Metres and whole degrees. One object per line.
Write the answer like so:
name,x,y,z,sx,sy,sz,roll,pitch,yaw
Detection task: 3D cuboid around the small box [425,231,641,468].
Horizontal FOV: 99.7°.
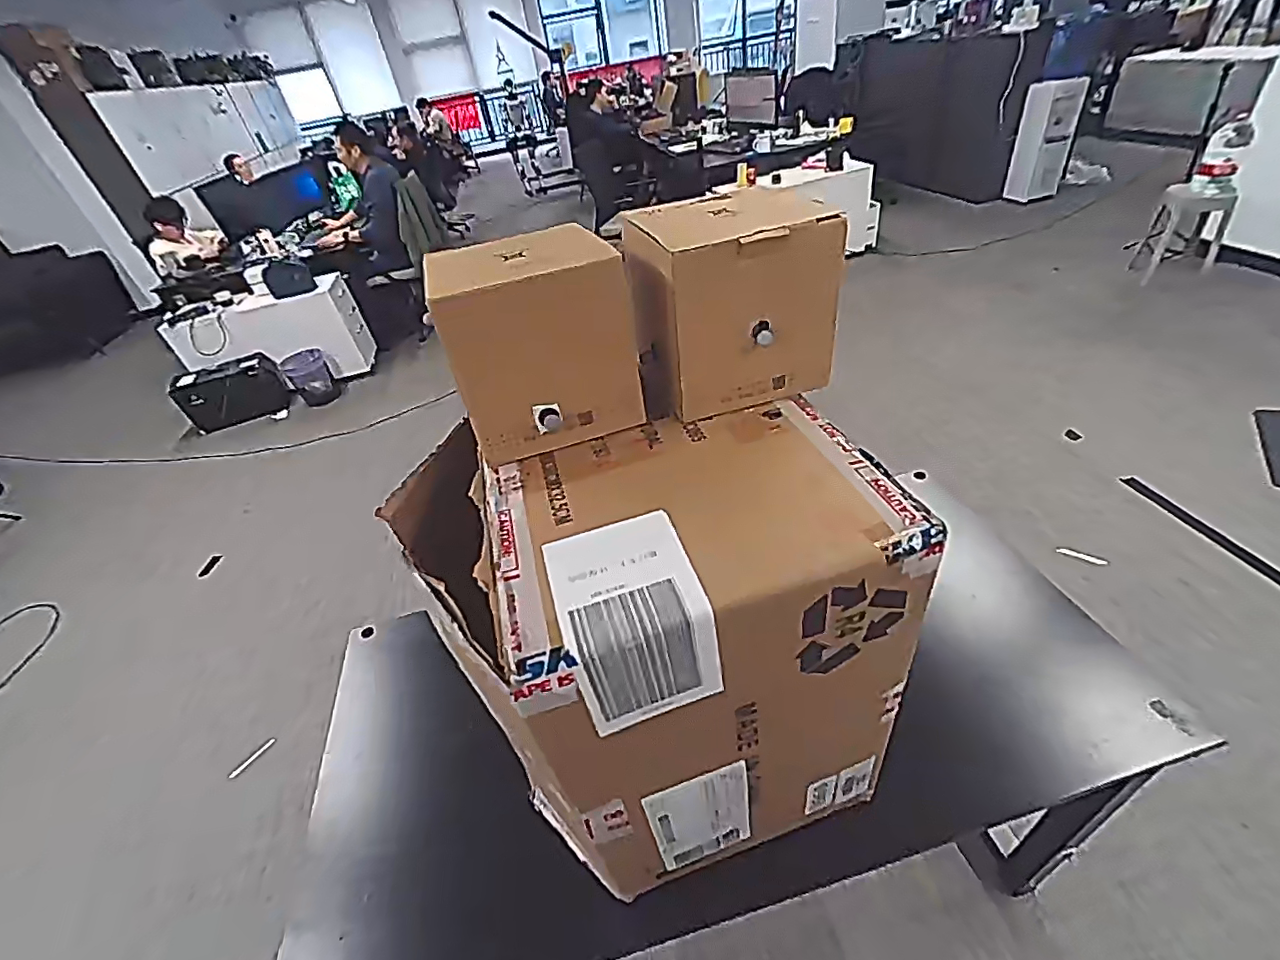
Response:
small box,-0.110,-0.139,0.558,0.168,0.176,0.179,-19,38,-11
